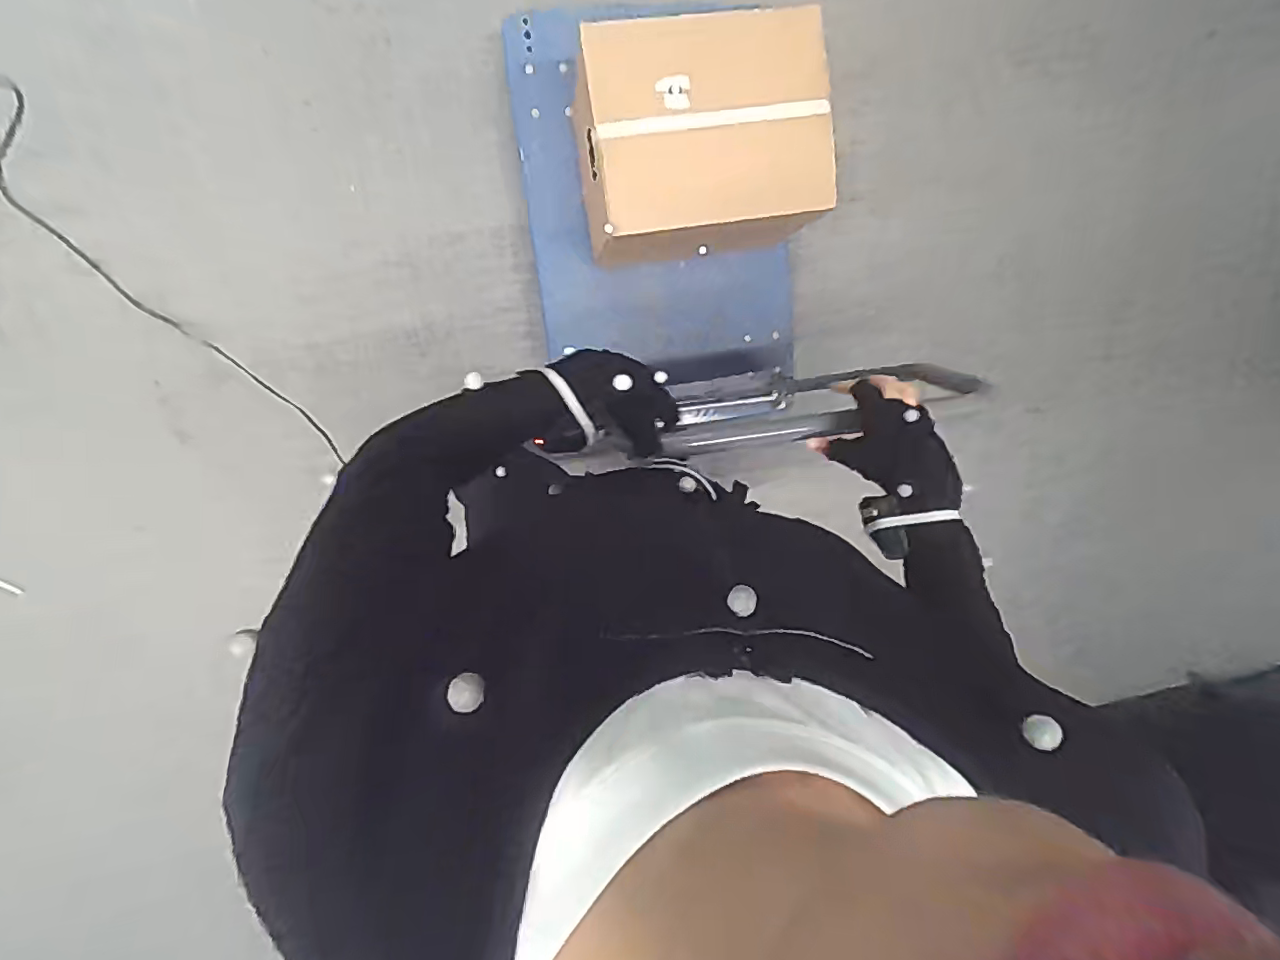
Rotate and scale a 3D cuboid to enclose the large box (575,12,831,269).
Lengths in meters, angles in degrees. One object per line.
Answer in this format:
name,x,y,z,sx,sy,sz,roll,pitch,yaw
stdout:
large box,0.100,-0.617,1.044,0.408,0.320,0.320,-10,101,-7
